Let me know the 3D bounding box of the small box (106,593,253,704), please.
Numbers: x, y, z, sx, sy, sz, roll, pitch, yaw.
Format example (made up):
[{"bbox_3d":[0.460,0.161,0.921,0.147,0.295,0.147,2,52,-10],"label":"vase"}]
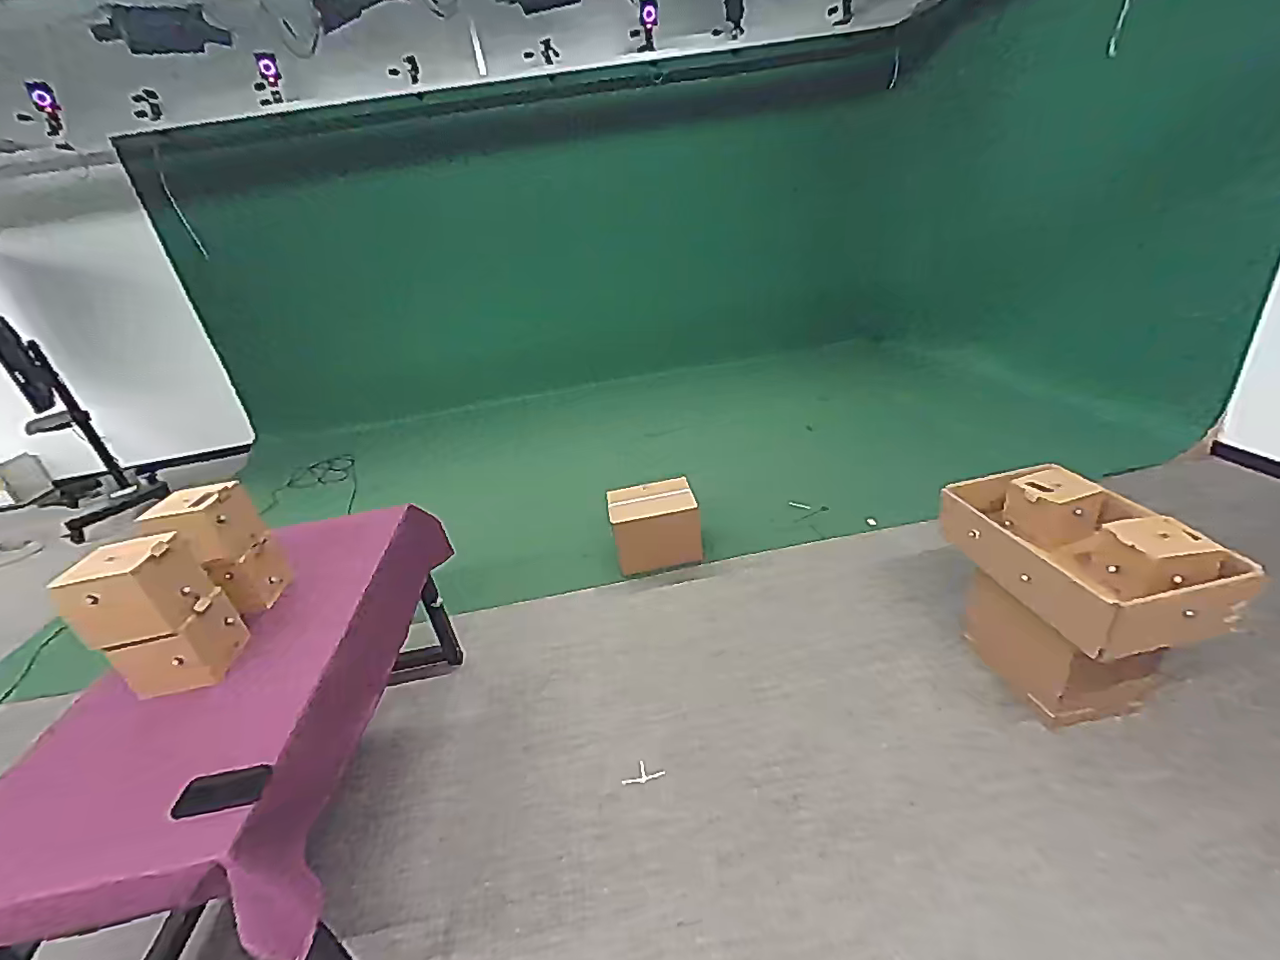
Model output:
[{"bbox_3d":[-1.076,0.400,1.285,0.179,0.176,0.168,-12,26,-3],"label":"small box"}]

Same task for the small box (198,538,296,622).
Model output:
[{"bbox_3d":[-1.121,0.288,1.521,0.179,0.176,0.168,-11,26,-4],"label":"small box"}]

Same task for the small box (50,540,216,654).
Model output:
[{"bbox_3d":[-1.109,0.261,1.202,0.179,0.176,0.168,-12,26,-4],"label":"small box"}]

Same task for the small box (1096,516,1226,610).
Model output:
[{"bbox_3d":[1.329,0.216,1.398,0.179,0.176,0.168,-10,27,3],"label":"small box"}]
